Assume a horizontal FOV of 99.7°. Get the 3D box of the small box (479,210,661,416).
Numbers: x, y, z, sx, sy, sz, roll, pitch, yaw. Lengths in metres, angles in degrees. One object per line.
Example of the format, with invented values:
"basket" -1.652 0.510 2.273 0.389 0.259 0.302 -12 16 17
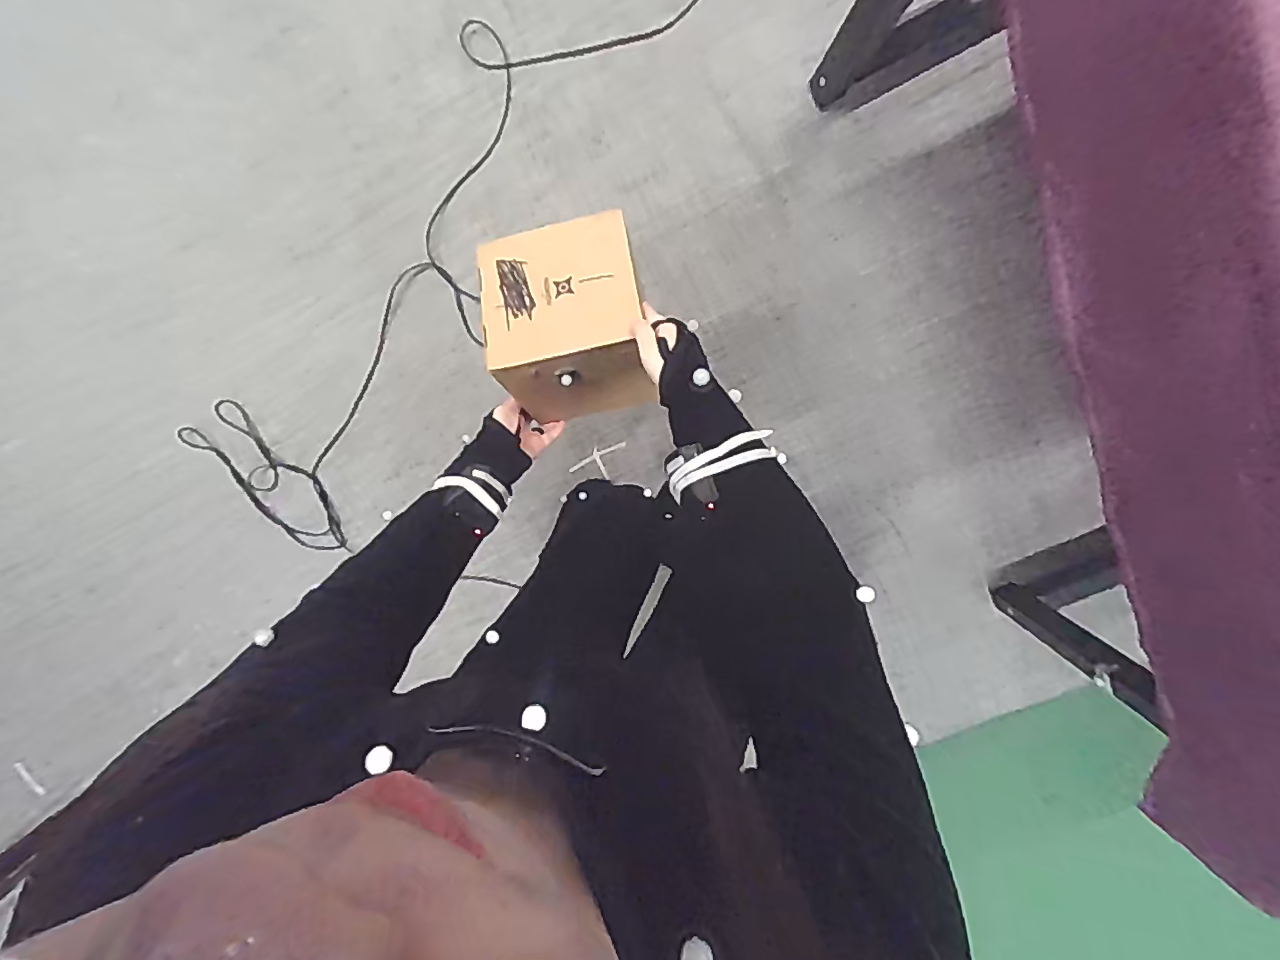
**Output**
"small box" -0.080 -0.194 0.677 0.179 0.176 0.168 -12 75 5
